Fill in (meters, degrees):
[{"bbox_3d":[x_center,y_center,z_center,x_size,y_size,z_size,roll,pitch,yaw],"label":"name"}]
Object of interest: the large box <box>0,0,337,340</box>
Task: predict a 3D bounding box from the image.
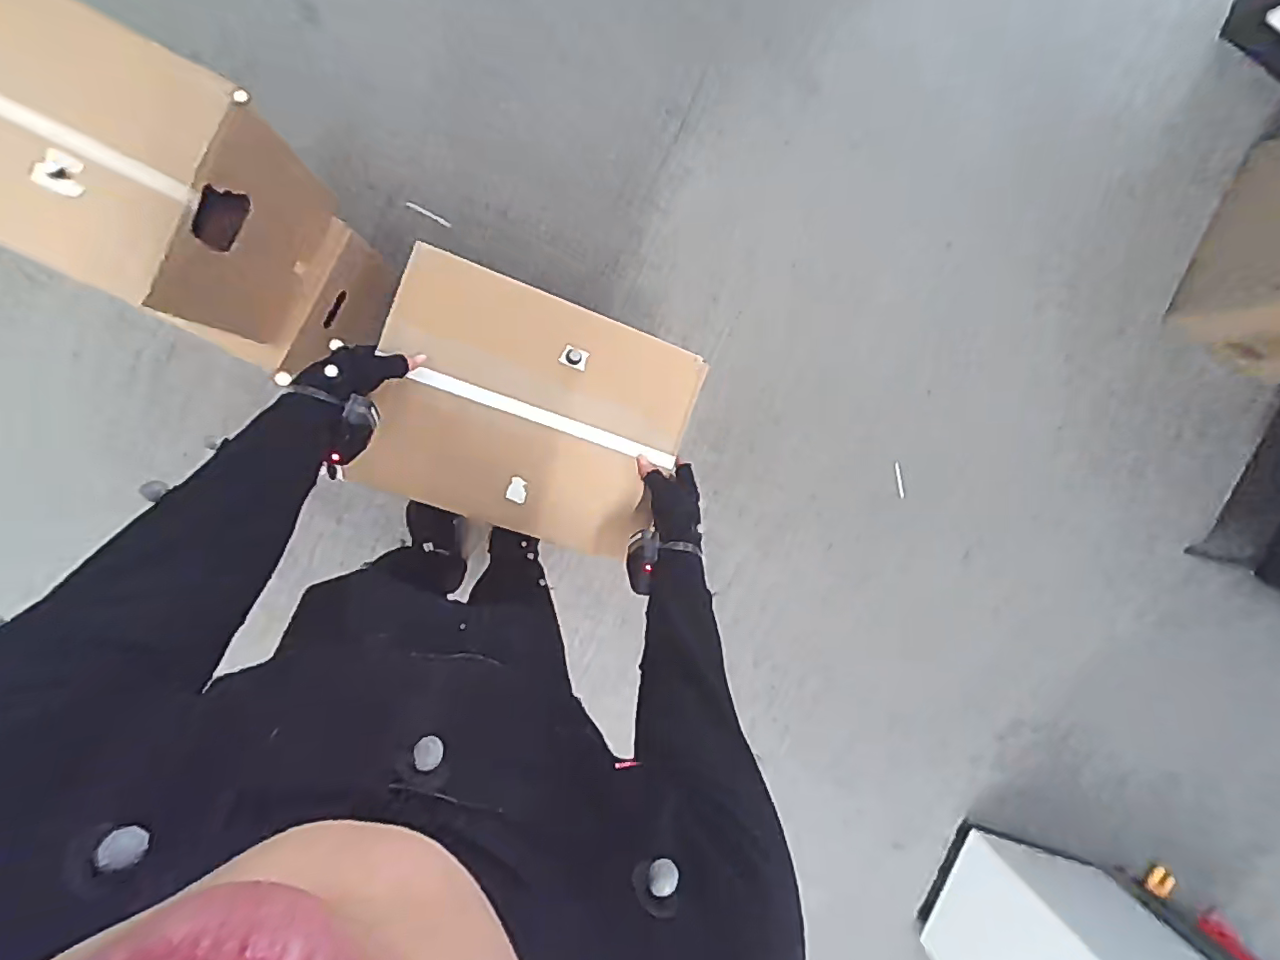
[{"bbox_3d":[-0.768,-0.462,0.813,0.408,0.320,0.320,26,90,-11],"label":"large box"}]
